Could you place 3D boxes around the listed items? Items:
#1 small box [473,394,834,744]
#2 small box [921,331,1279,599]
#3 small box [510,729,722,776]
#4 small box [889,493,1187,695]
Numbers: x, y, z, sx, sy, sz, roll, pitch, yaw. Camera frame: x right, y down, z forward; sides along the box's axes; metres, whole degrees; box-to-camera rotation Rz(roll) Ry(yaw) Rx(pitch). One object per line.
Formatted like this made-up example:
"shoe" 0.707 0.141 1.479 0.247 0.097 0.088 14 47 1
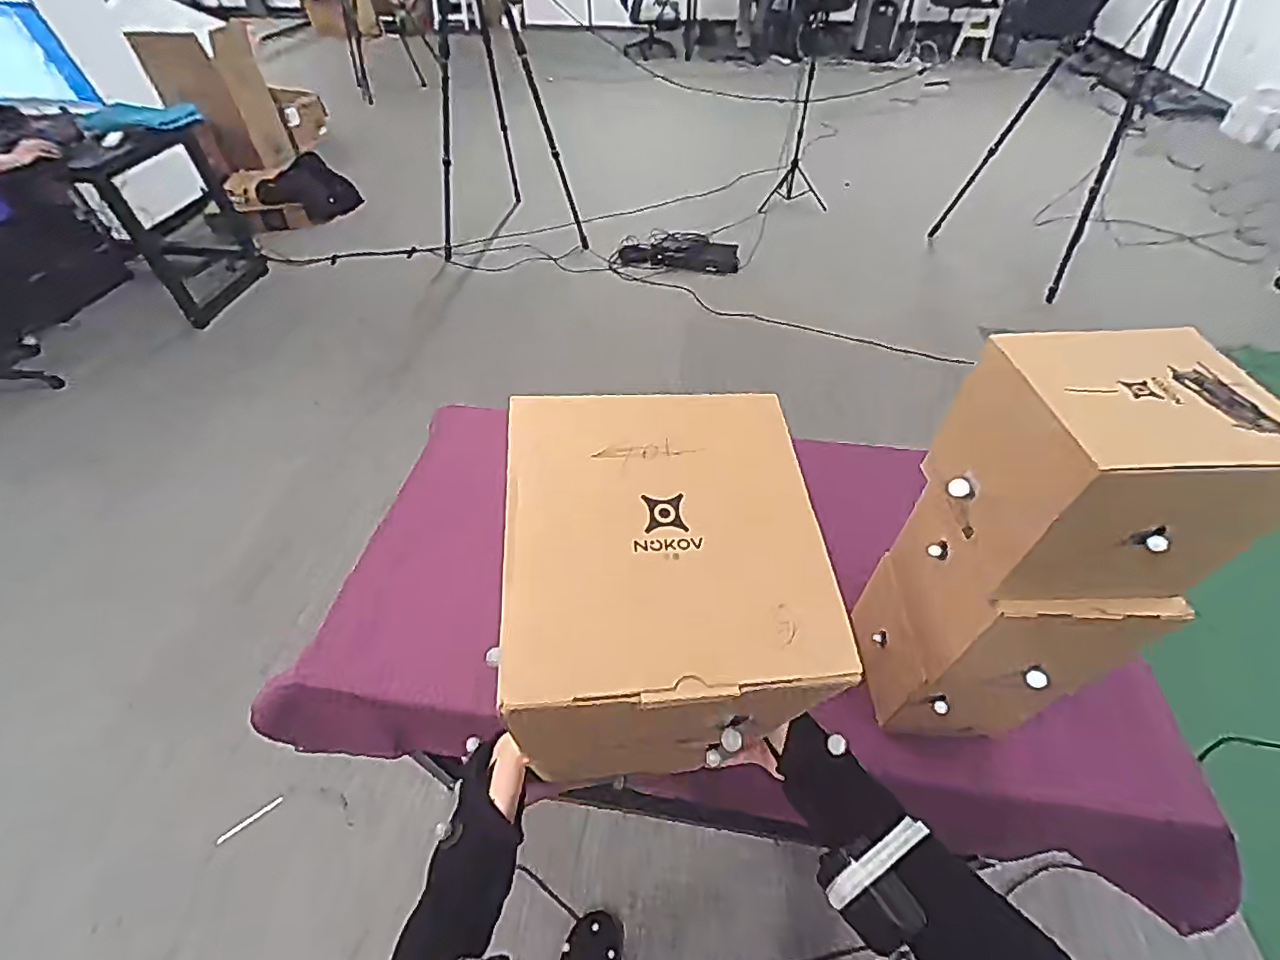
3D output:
"small box" -0.003 0.065 0.349 0.168 0.176 0.179 -1 56 -7
"small box" 0.380 -0.010 0.465 0.179 0.176 0.168 -2 47 1
"small box" -0.017 0.156 0.484 0.179 0.176 0.168 -3 57 -9
"small box" 0.390 0.109 0.579 0.168 0.176 0.179 1 48 3
